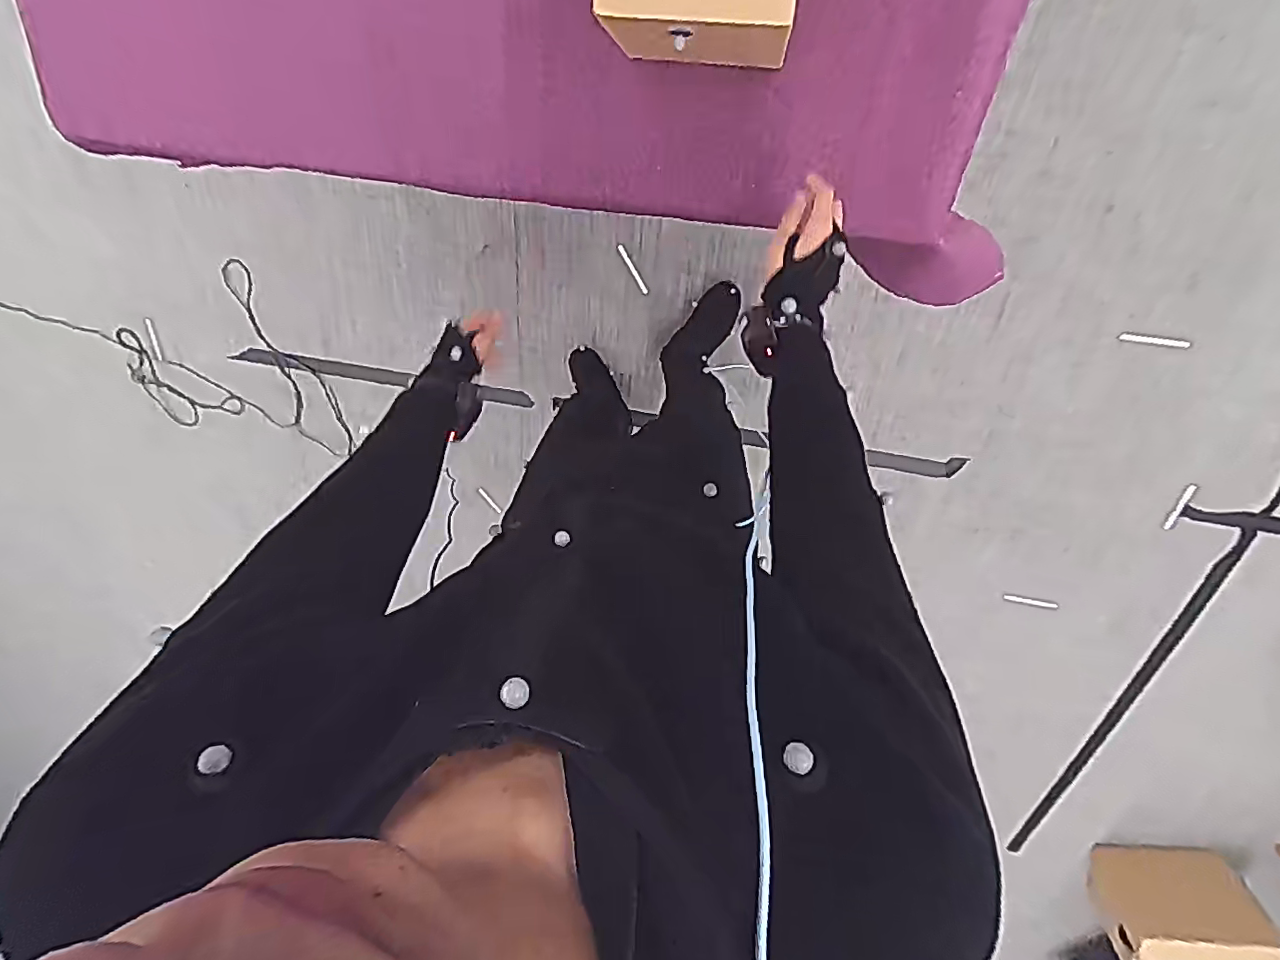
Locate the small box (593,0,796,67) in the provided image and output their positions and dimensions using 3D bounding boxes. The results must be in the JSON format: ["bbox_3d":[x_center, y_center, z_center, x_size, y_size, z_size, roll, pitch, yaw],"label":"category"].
[{"bbox_3d":[0.065,-0.503,0.500,0.179,0.176,0.168,9,119,6],"label":"small box"}]

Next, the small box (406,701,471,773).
[{"bbox_3d":[-0.775,0.986,2.087,0.179,0.176,0.168,12,117,6],"label":"small box"}]
